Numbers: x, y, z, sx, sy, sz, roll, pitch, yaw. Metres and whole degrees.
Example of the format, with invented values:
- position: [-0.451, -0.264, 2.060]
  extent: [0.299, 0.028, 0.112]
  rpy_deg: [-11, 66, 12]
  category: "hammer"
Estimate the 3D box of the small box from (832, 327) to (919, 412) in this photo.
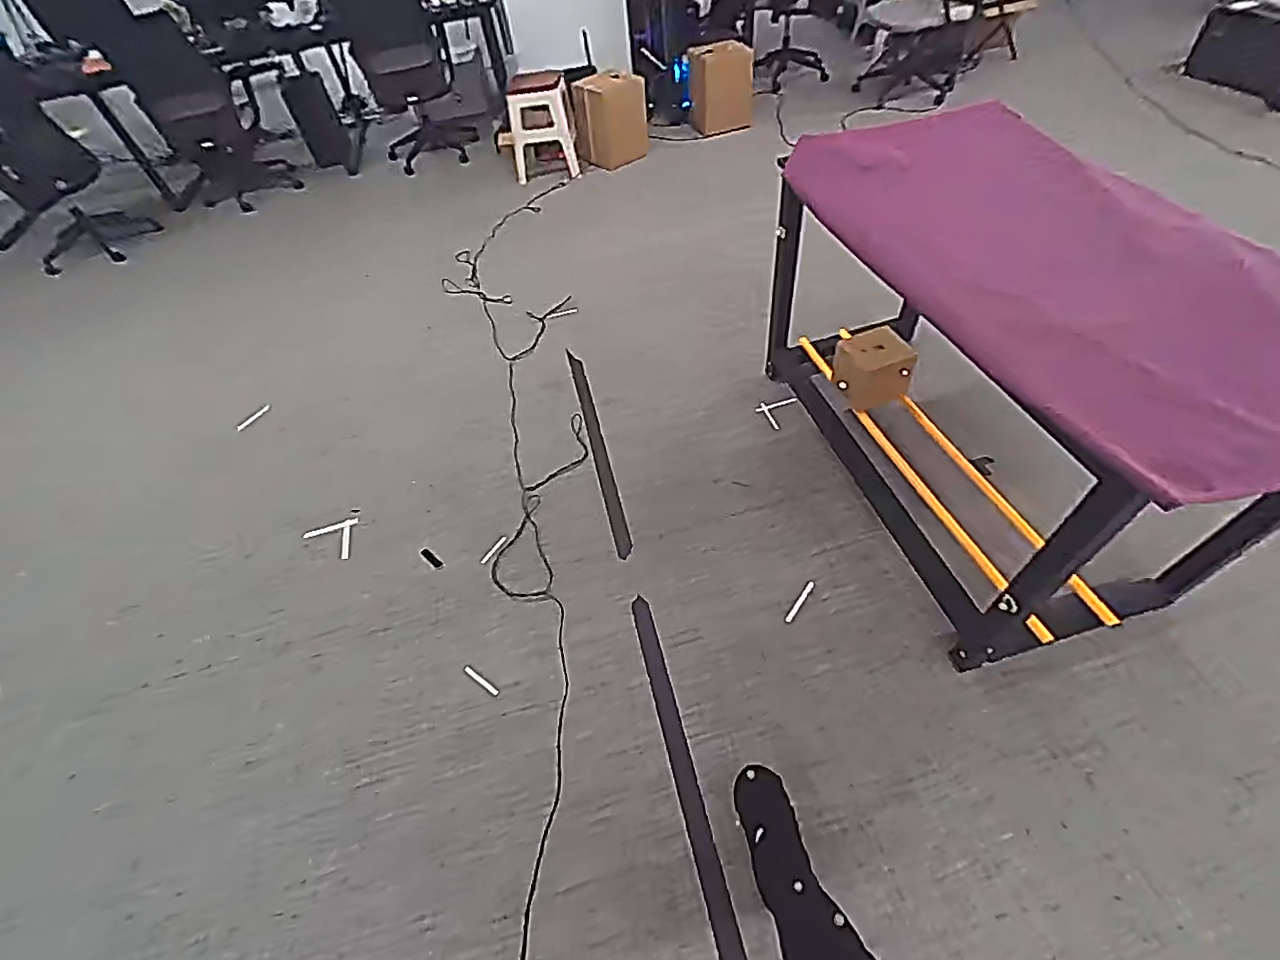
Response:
- position: [0.725, -0.343, 1.686]
  extent: [0.179, 0.176, 0.168]
  rpy_deg: [-19, 51, -5]
  category: "small box"
